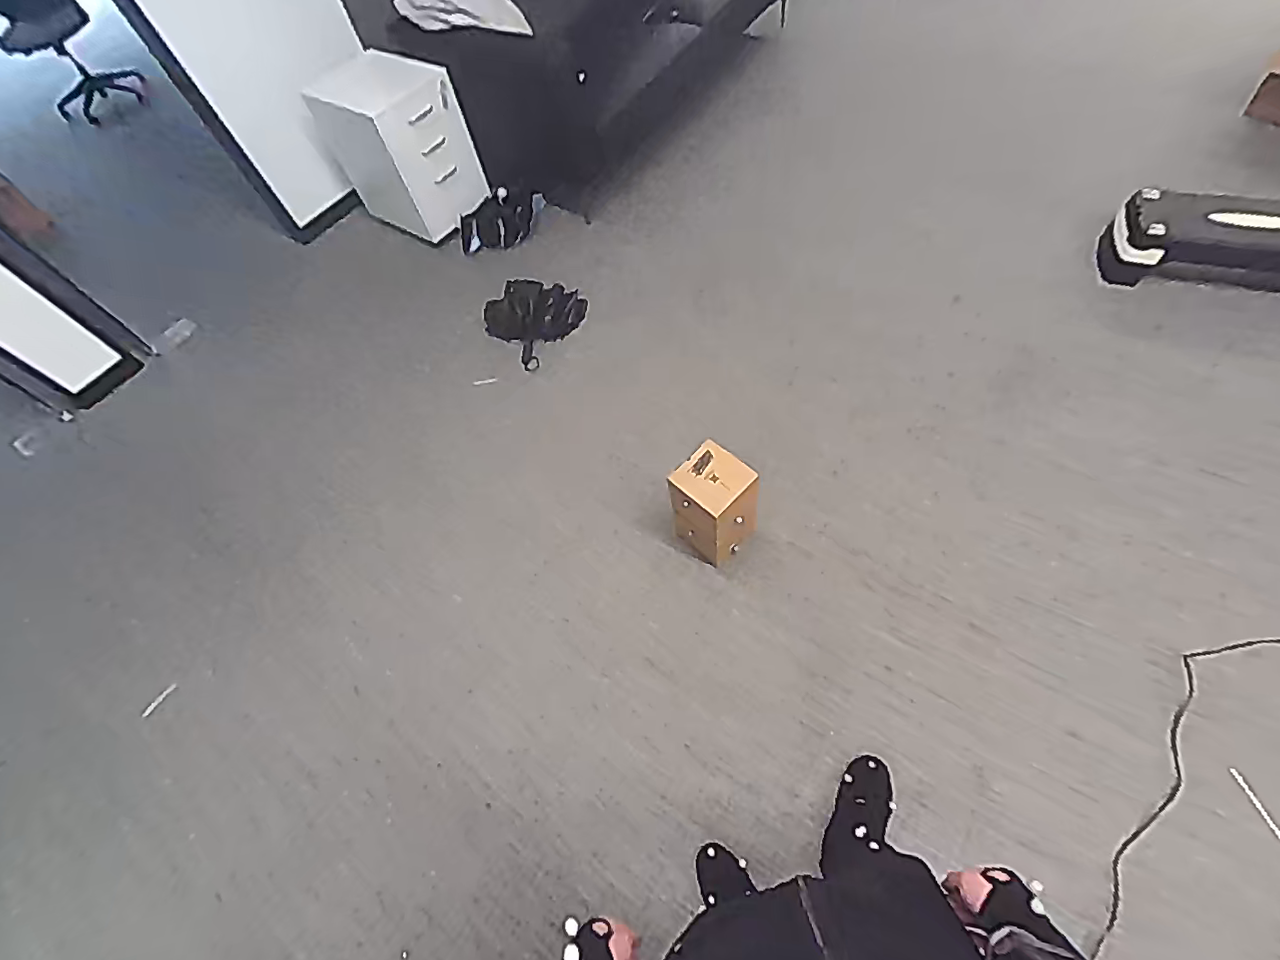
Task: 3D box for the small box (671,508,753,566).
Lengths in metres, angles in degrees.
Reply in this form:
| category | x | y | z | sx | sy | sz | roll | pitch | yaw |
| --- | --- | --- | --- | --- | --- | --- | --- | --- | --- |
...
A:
| category | x | y | z | sx | sy | sz | roll | pitch | yaw |
| --- | --- | --- | --- | --- | --- | --- | --- | --- | --- |
| small box | 0.212 | 0.126 | 1.607 | 0.179 | 0.176 | 0.168 | 39 | 72 | 25 |

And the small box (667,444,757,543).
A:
| category | x | y | z | sx | sy | sz | roll | pitch | yaw |
| --- | --- | --- | --- | --- | --- | --- | --- | --- | --- |
| small box | 0.194 | 0.041 | 1.467 | 0.168 | 0.176 | 0.179 | -42 | 64 | -16 |
